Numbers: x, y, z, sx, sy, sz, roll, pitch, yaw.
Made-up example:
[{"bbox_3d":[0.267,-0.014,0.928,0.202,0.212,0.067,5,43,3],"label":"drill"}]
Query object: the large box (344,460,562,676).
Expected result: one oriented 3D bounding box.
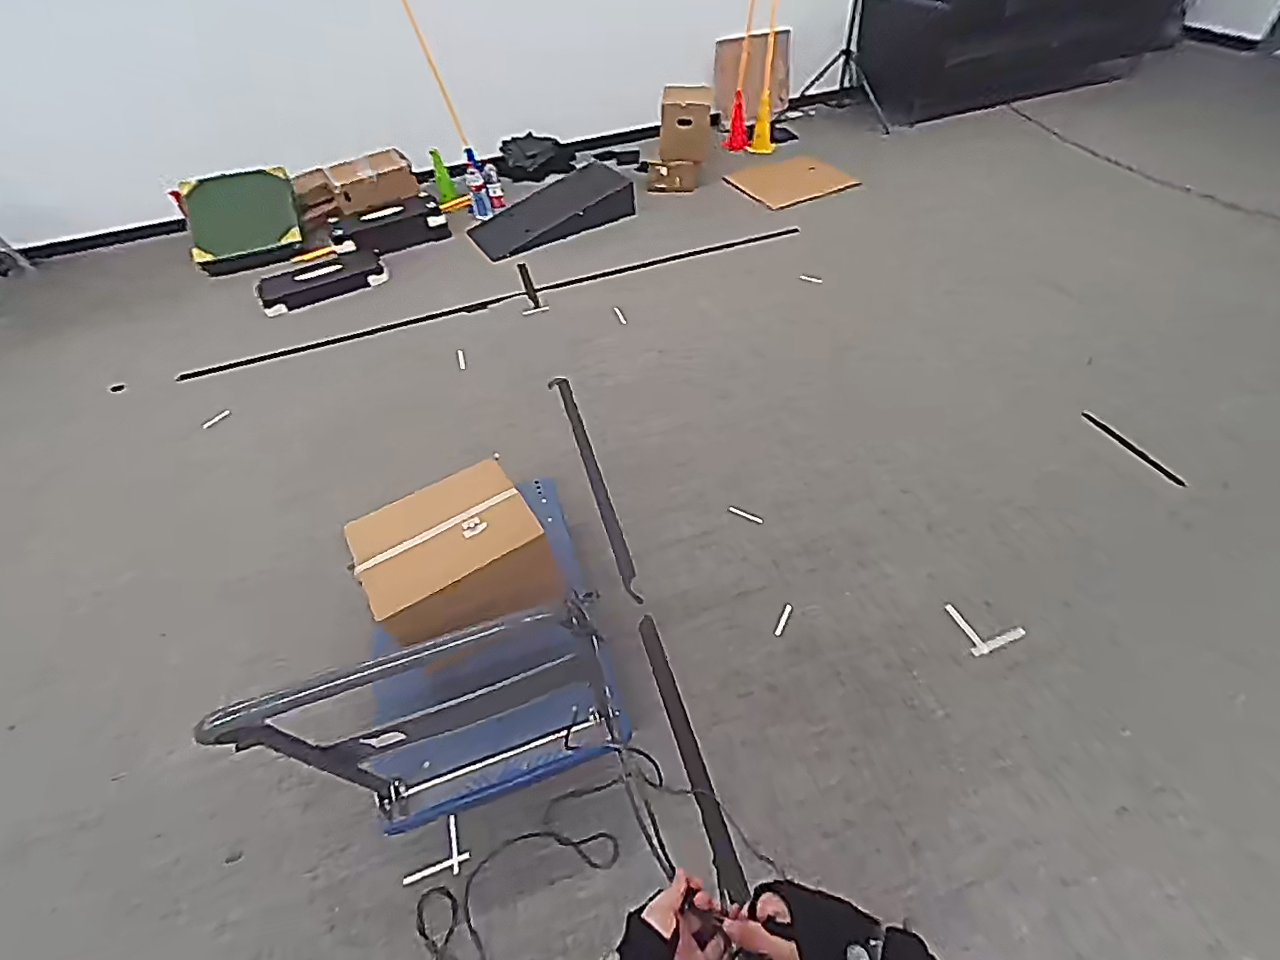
[{"bbox_3d":[-0.468,0.225,1.403,0.408,0.320,0.320,-28,53,-19],"label":"large box"}]
